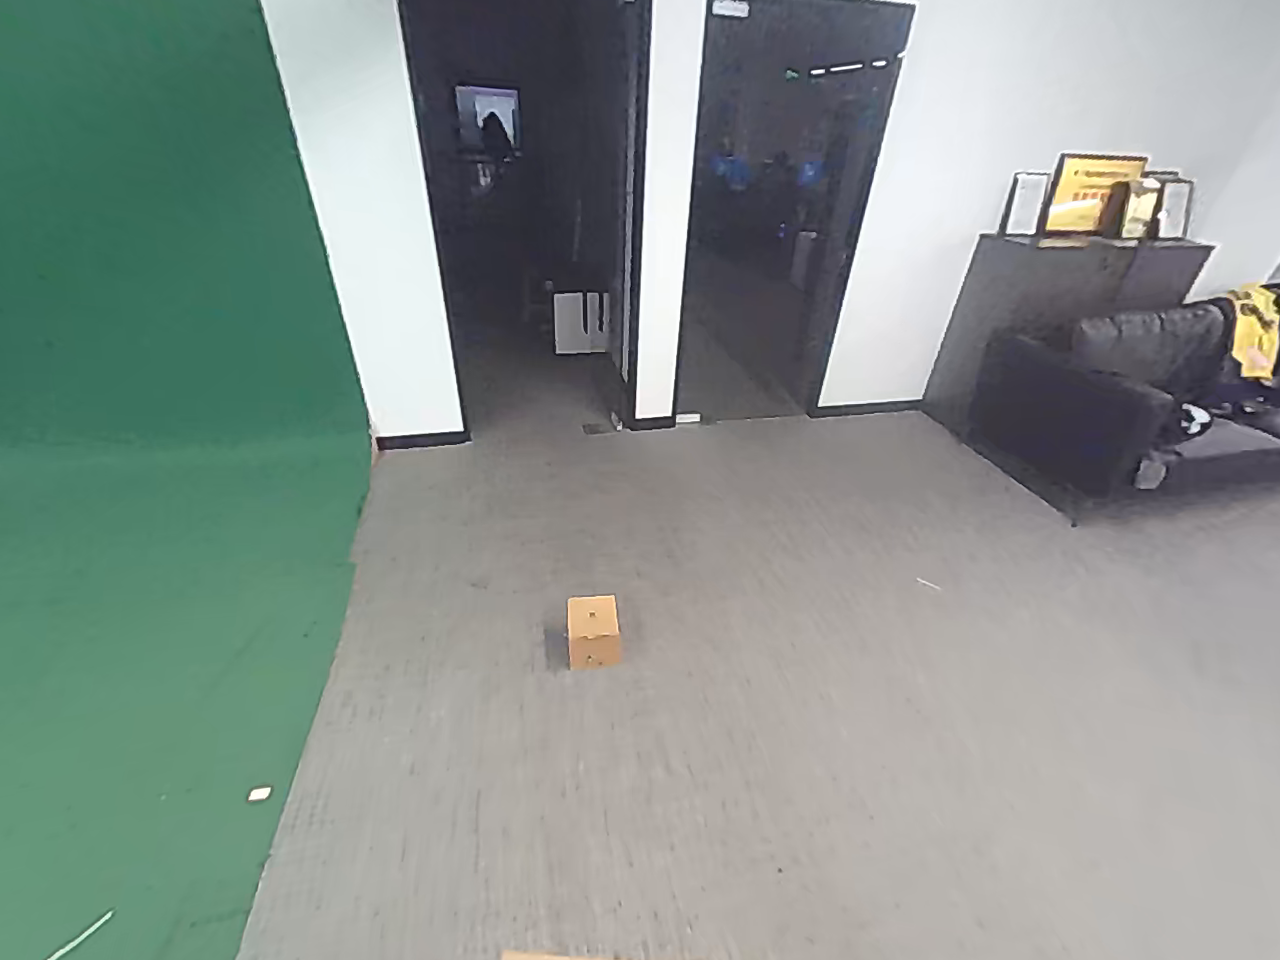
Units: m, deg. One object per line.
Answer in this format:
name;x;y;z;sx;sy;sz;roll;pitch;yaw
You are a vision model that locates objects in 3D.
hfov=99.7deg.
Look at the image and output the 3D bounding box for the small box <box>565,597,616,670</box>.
small box;-0.175;0.526;1.857;0.168;0.176;0.179;-1;34;-8
